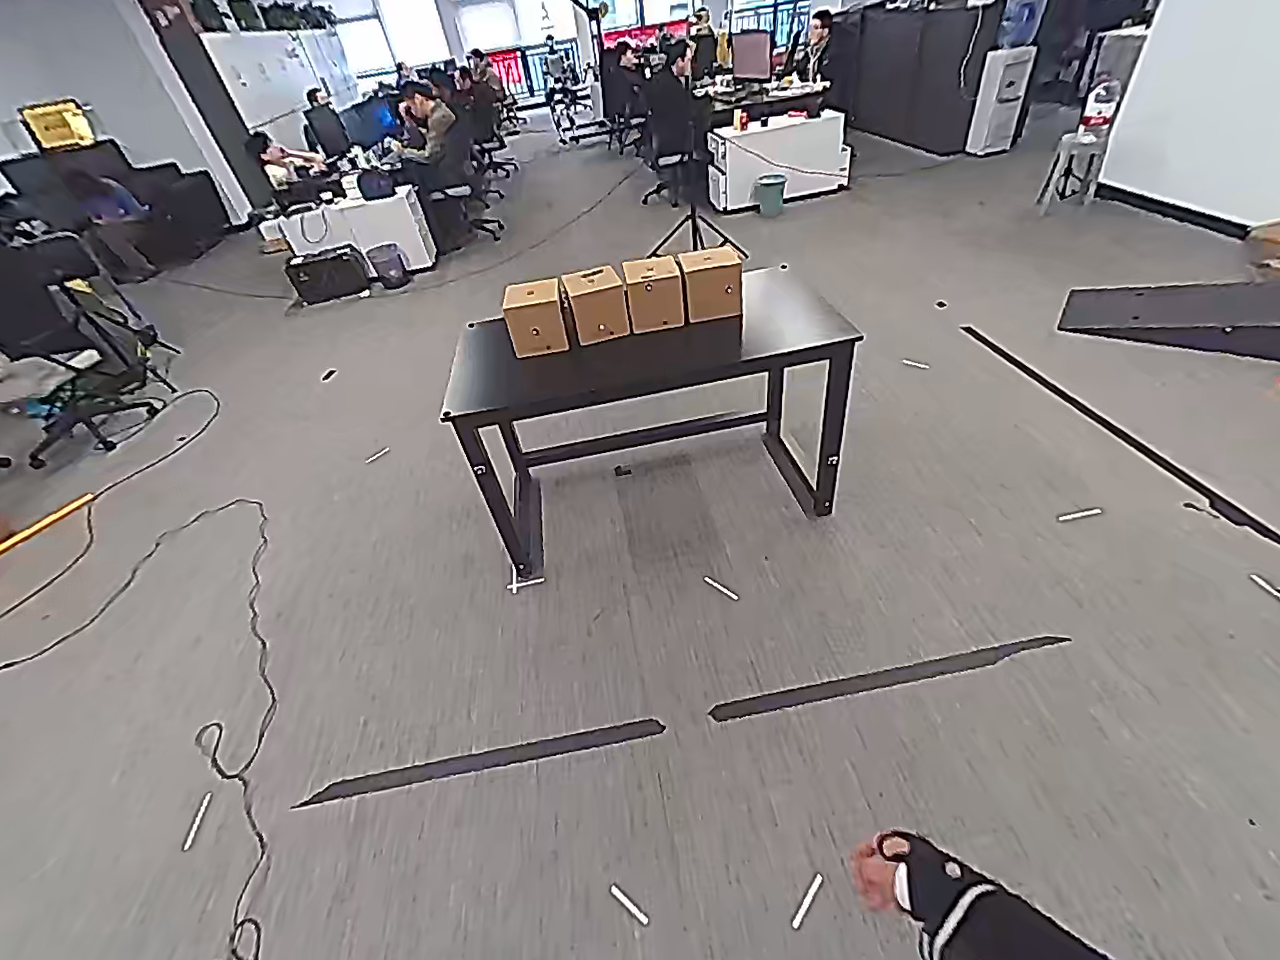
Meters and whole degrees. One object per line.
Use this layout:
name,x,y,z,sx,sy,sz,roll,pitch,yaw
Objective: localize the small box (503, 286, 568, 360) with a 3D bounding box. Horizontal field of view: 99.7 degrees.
small box,-0.325,-0.492,1.718,0.168,0.176,0.179,-9,40,0
